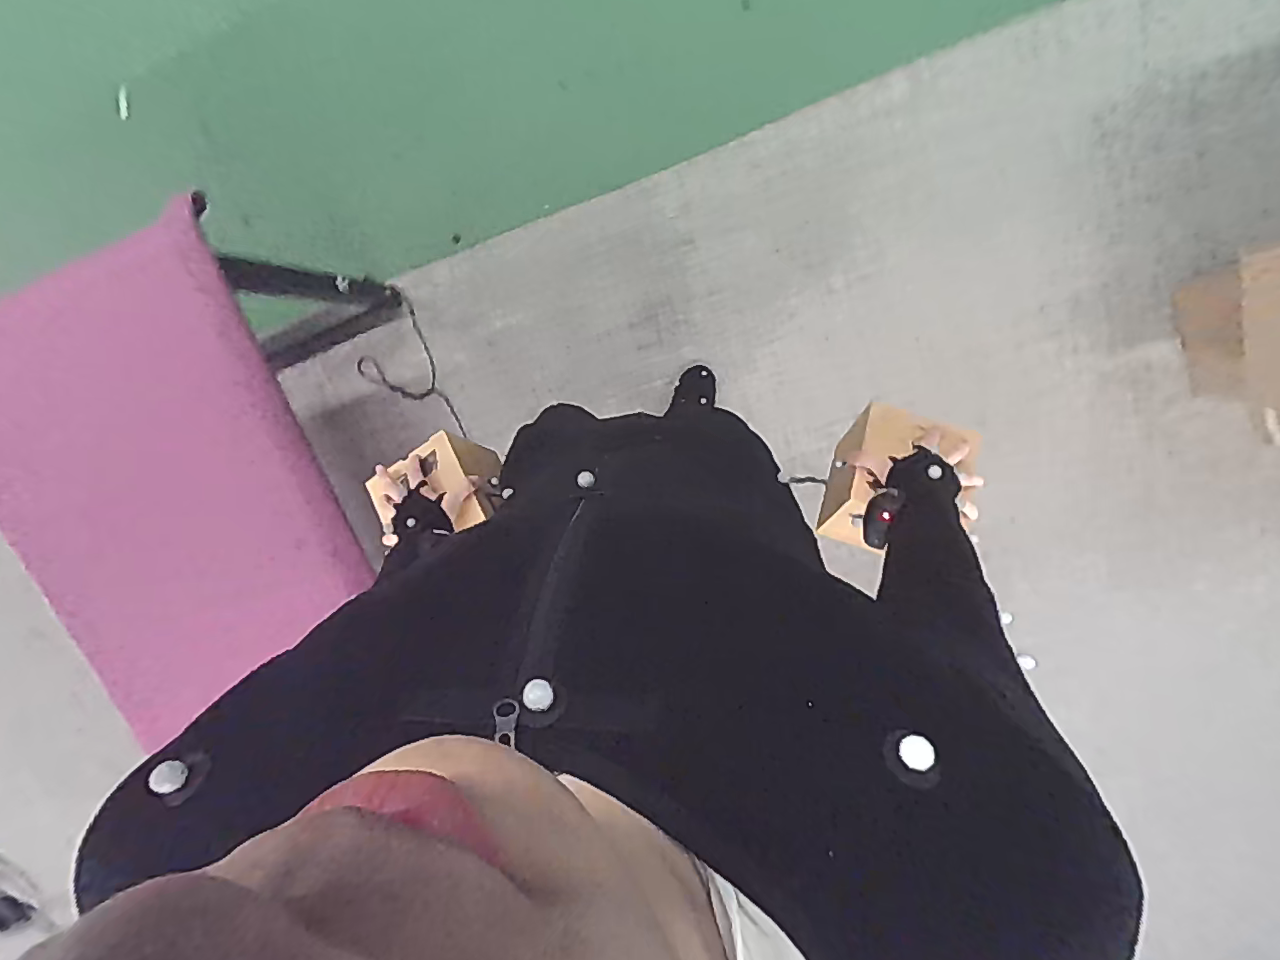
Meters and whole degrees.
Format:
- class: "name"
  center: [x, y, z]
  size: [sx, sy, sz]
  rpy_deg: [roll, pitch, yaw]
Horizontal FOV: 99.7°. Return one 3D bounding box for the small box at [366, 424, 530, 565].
- class: "small box"
  center: [-0.321, 0.036, 0.927]
  size: [0.168, 0.176, 0.179]
  rpy_deg: [-33, 75, 8]
